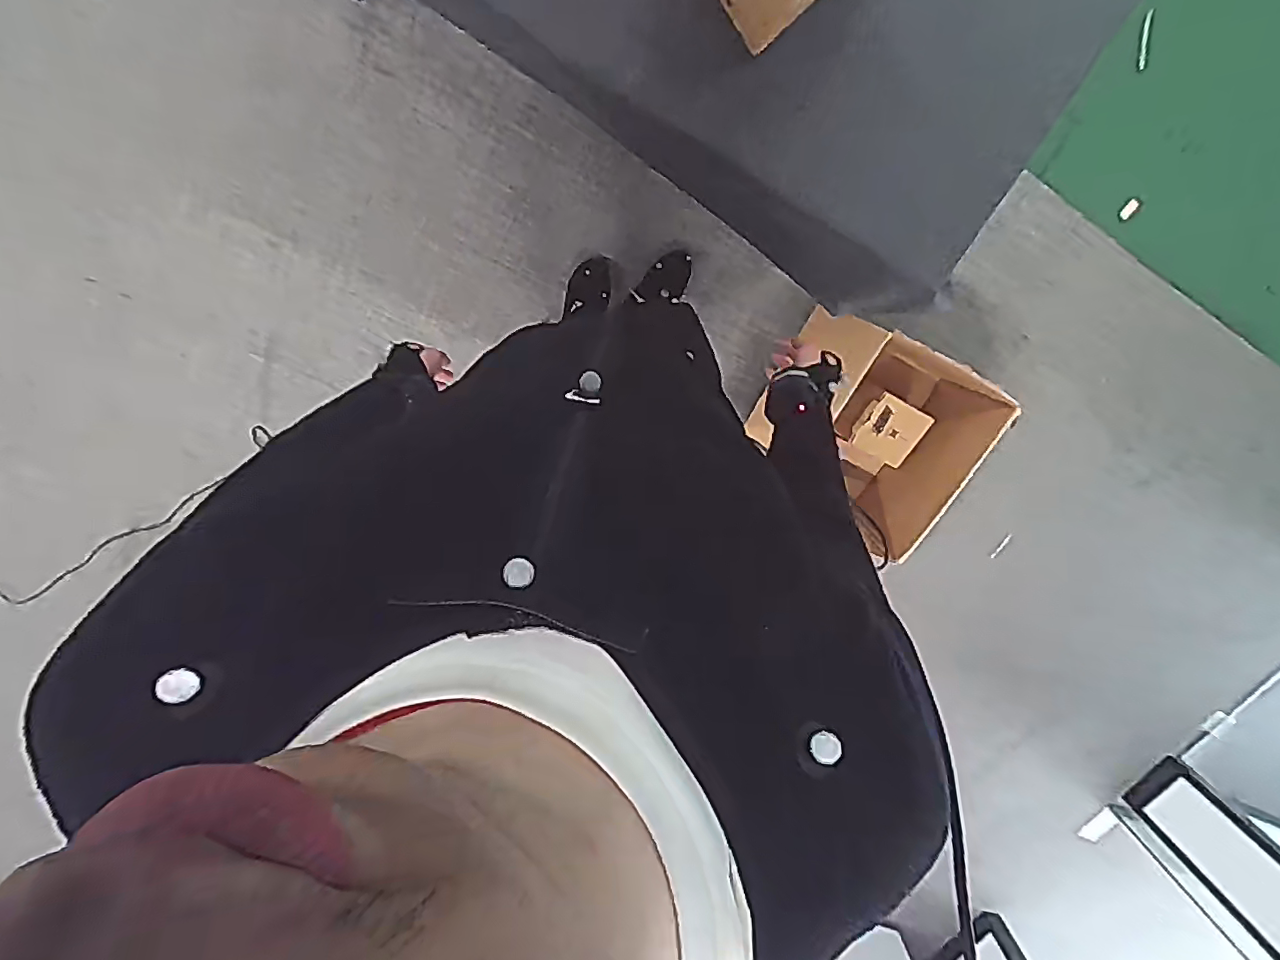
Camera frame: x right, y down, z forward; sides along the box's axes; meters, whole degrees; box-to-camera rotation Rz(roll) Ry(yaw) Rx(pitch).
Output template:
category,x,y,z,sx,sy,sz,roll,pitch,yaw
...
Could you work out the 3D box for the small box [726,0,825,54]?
category,x,y,z,sx,sy,sz,roll,pitch,yaw
small box,0.160,-0.583,0.540,0.179,0.176,0.168,-38,110,13
